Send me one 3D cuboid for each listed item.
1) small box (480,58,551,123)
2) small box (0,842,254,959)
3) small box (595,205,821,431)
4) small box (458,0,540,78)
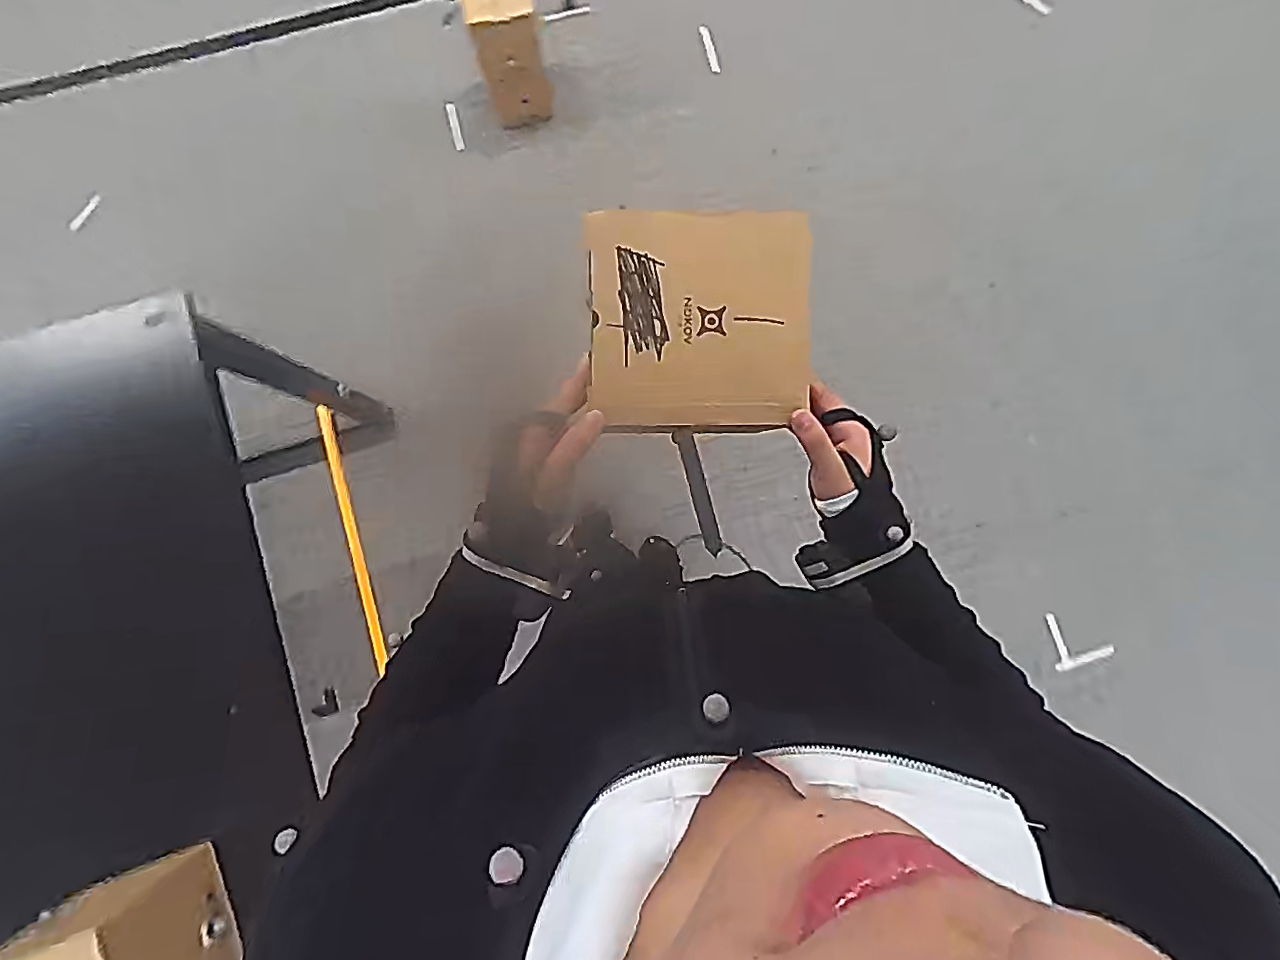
[{"bbox_3d":[-0.360,-1.148,1.522,0.168,0.176,0.179,-17,87,-2],"label":"small box"},{"bbox_3d":[-0.625,0.590,0.652,0.179,0.176,0.168,-22,87,-3],"label":"small box"},{"bbox_3d":[0.050,-0.132,0.502,0.179,0.176,0.168,0,93,-3],"label":"small box"},{"bbox_3d":[-0.356,-1.164,1.357,0.168,0.176,0.179,-11,86,-1],"label":"small box"}]
